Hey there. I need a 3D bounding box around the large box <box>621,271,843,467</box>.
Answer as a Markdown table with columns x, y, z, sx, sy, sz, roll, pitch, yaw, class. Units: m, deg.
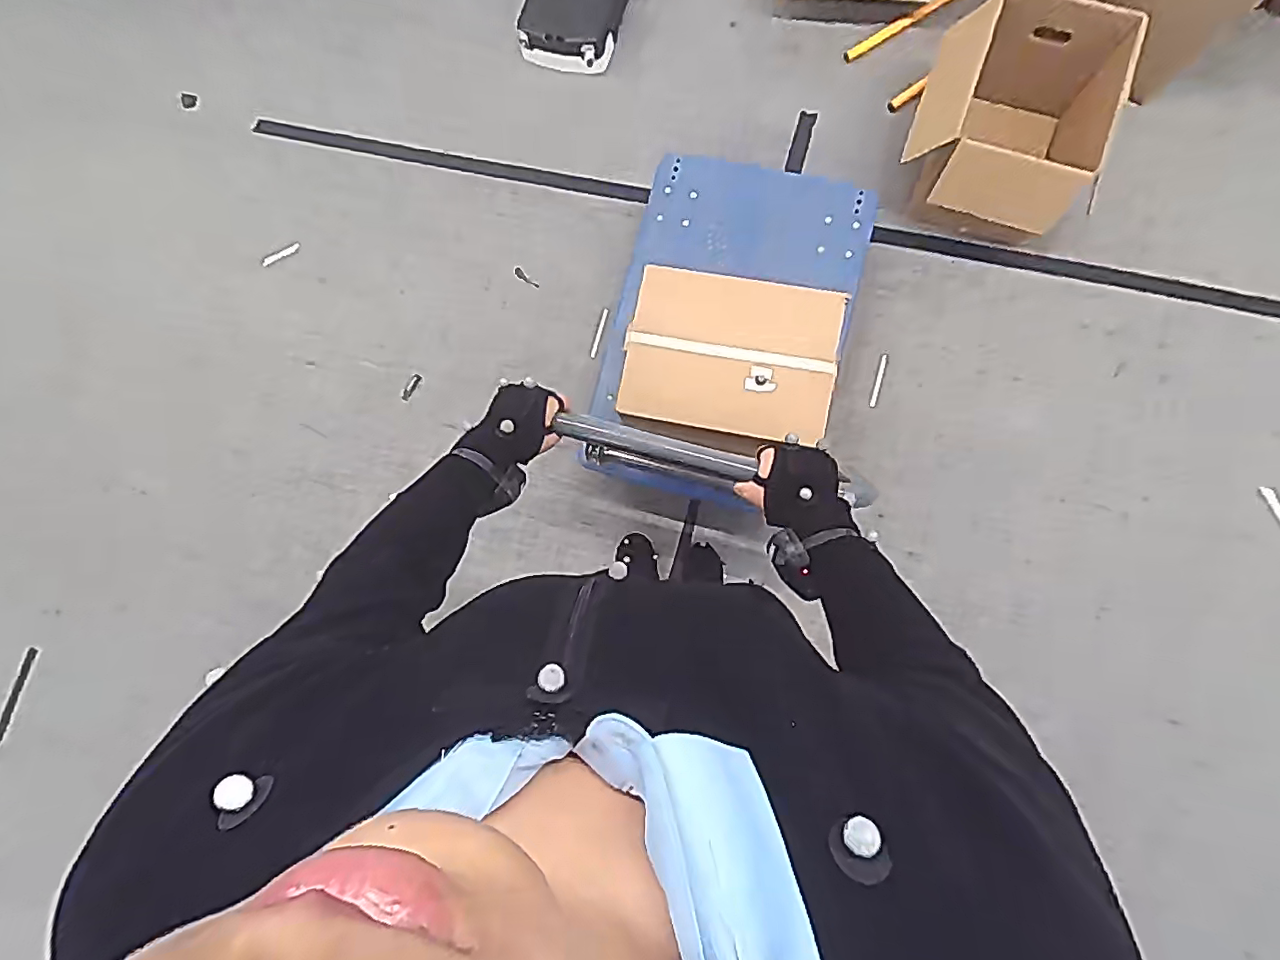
| x | y | z | sx | sy | sz | roll | pitch | yaw | class |
| --- | --- | --- | --- | --- | --- | --- | --- | --- | --- |
| 0.190 | -0.229 | 1.217 | 0.408 | 0.320 | 0.320 | 11 | 85 | 5 | large box |
